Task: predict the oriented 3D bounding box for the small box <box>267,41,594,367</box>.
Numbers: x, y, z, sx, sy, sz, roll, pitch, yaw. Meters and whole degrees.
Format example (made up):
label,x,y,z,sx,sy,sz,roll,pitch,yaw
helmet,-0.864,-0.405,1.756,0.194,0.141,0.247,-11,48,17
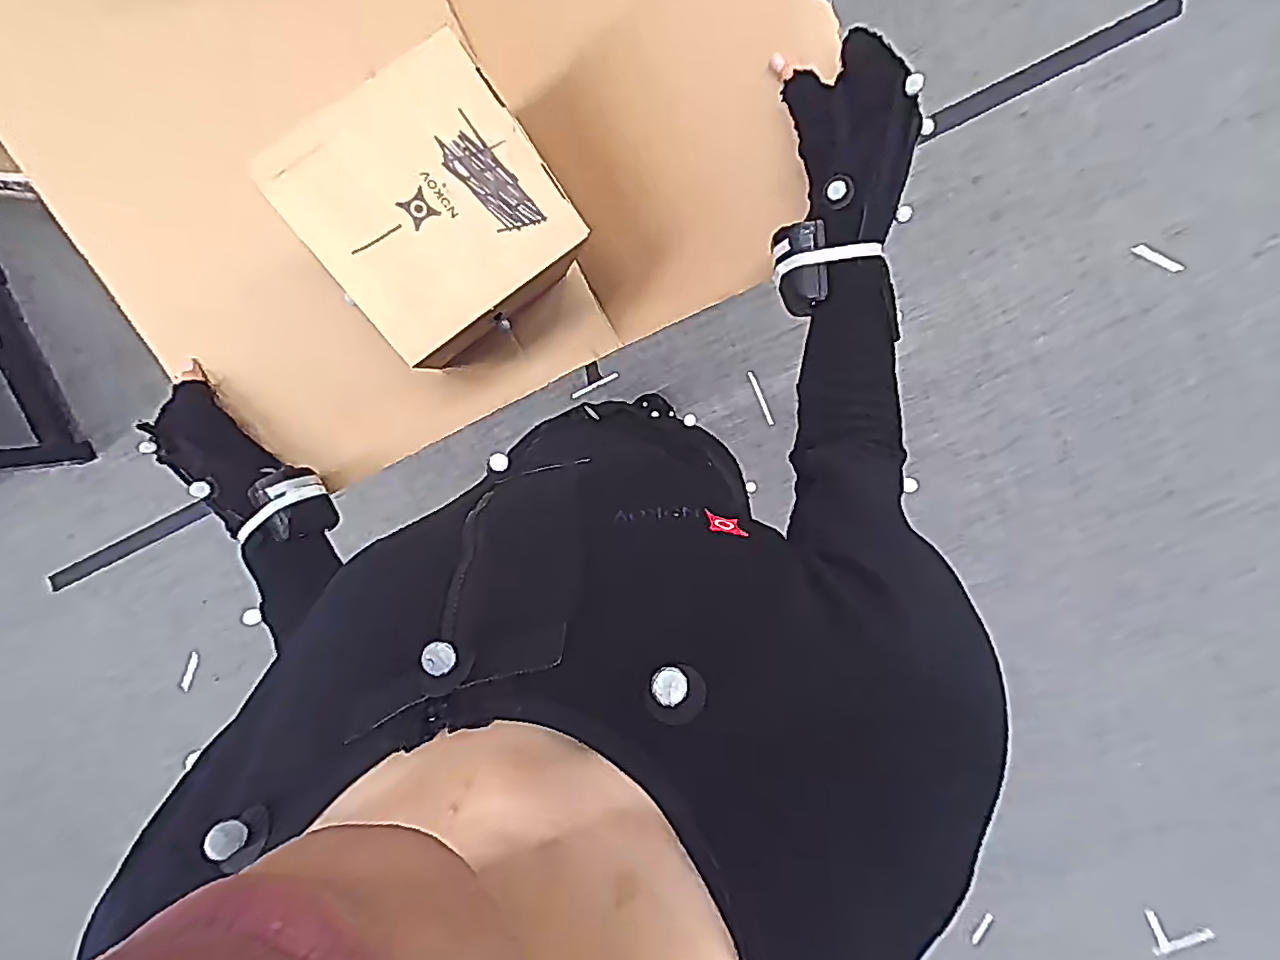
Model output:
label,x,y,z,sx,sy,sz,roll,pitch,yaw
small box,-0.168,-0.218,0.479,0.179,0.176,0.168,-38,107,-4
